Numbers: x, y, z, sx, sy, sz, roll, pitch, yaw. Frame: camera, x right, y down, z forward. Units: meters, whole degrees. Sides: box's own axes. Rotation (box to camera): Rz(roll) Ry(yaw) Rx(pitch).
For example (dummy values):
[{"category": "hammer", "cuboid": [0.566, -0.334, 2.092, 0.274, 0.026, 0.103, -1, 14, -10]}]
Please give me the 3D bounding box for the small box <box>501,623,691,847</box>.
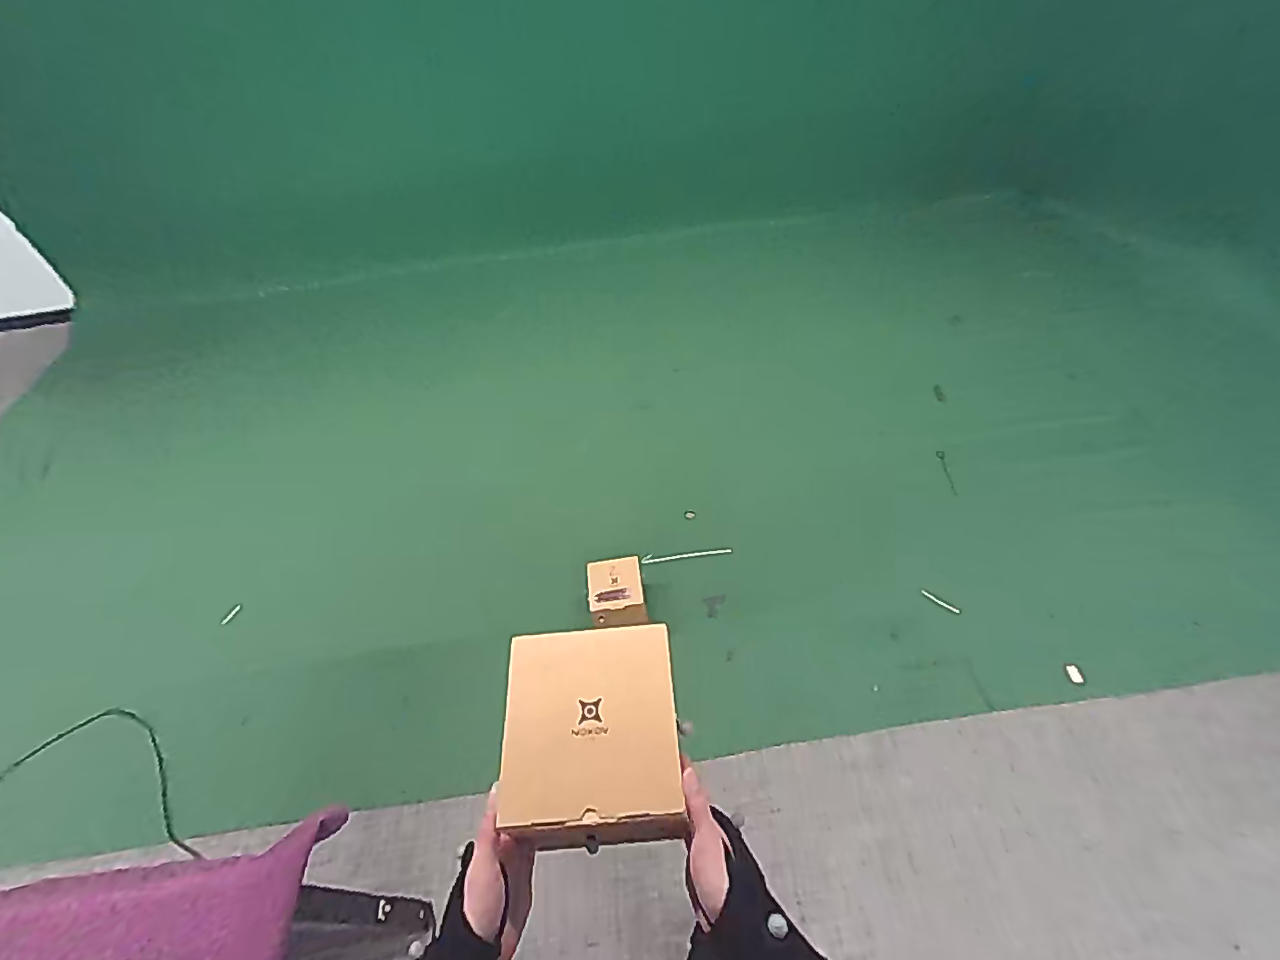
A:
[{"category": "small box", "cuboid": [-0.040, 0.273, 0.575, 0.168, 0.176, 0.179, -5, 52, 0]}]
